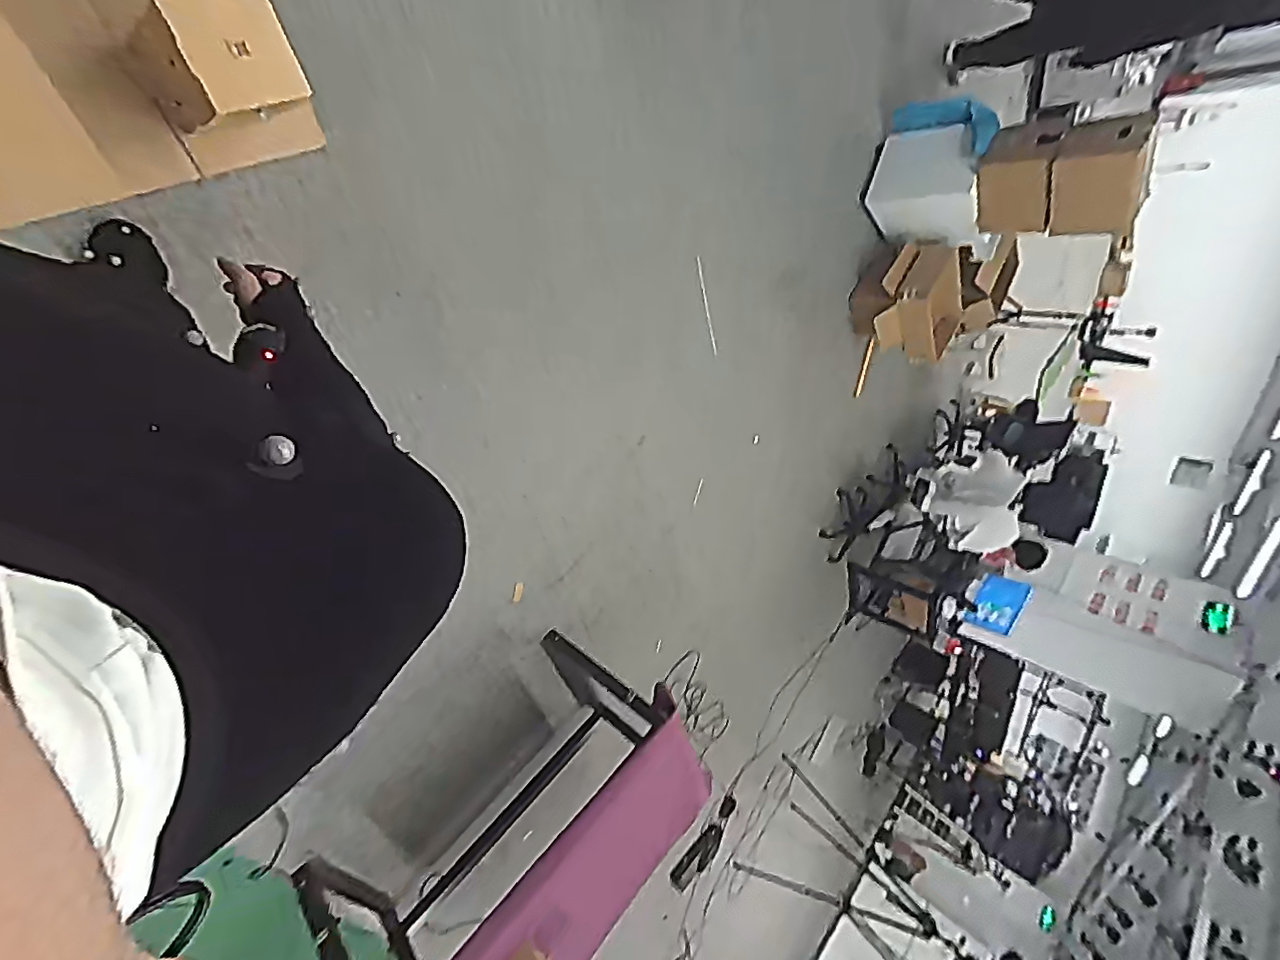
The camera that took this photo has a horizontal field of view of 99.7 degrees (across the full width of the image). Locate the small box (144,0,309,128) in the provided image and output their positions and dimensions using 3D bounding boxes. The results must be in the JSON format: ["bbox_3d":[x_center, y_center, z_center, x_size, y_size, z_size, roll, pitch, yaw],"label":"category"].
[{"bbox_3d":[-0.763,-0.773,0.999,0.179,0.176,0.168,-38,131,-28],"label":"small box"}]

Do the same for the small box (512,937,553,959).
[{"bbox_3d":[-0.311,1.482,1.557,0.179,0.176,0.168,-38,130,-30],"label":"small box"}]

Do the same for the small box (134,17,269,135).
[{"bbox_3d":[-0.877,-0.823,1.101,0.179,0.176,0.168,-38,130,-29],"label":"small box"}]
